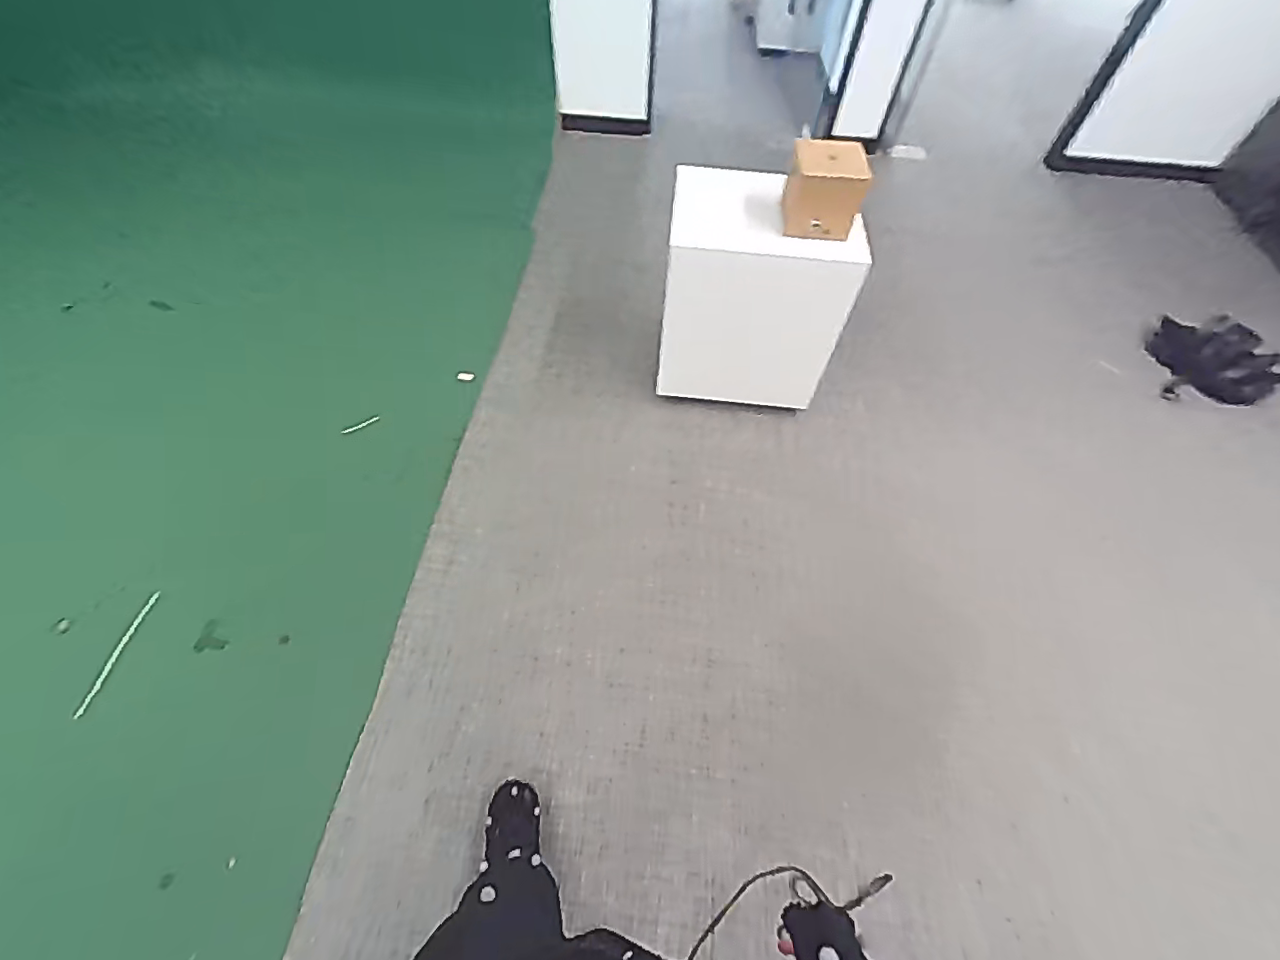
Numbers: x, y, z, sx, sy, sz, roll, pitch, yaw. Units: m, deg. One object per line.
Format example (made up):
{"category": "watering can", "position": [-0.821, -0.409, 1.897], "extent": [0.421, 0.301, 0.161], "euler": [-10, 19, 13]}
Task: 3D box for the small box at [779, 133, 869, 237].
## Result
{"category": "small box", "position": [0.456, -0.746, 1.372], "extent": [0.168, 0.176, 0.179], "euler": [3, 58, 1]}
